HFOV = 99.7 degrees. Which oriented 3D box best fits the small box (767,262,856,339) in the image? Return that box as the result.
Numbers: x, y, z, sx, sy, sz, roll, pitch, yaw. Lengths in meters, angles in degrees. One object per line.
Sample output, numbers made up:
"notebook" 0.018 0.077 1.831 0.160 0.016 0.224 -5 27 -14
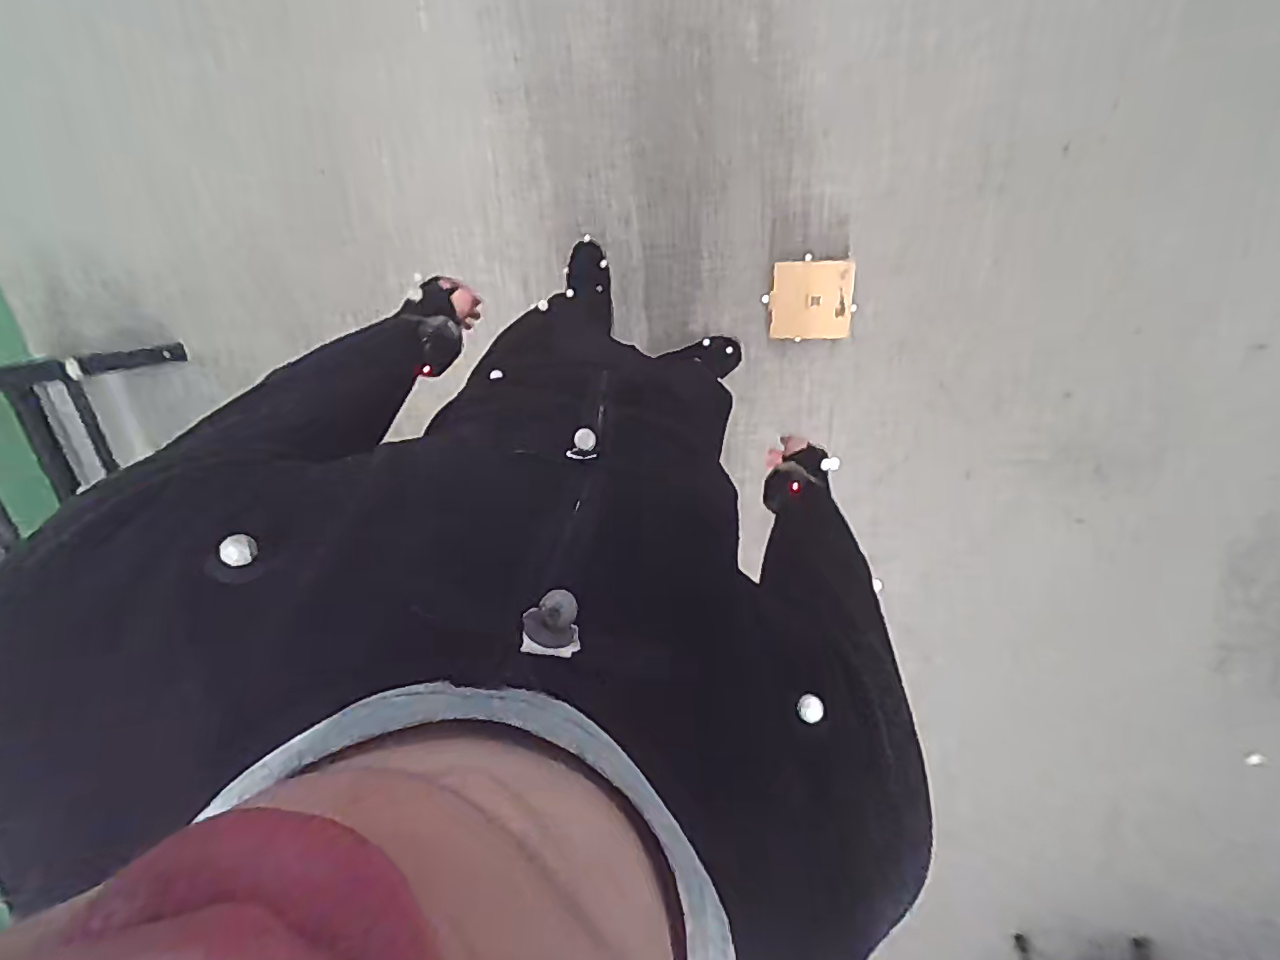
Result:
"small box" 0.399 -0.428 1.288 0.179 0.176 0.168 3 111 10
